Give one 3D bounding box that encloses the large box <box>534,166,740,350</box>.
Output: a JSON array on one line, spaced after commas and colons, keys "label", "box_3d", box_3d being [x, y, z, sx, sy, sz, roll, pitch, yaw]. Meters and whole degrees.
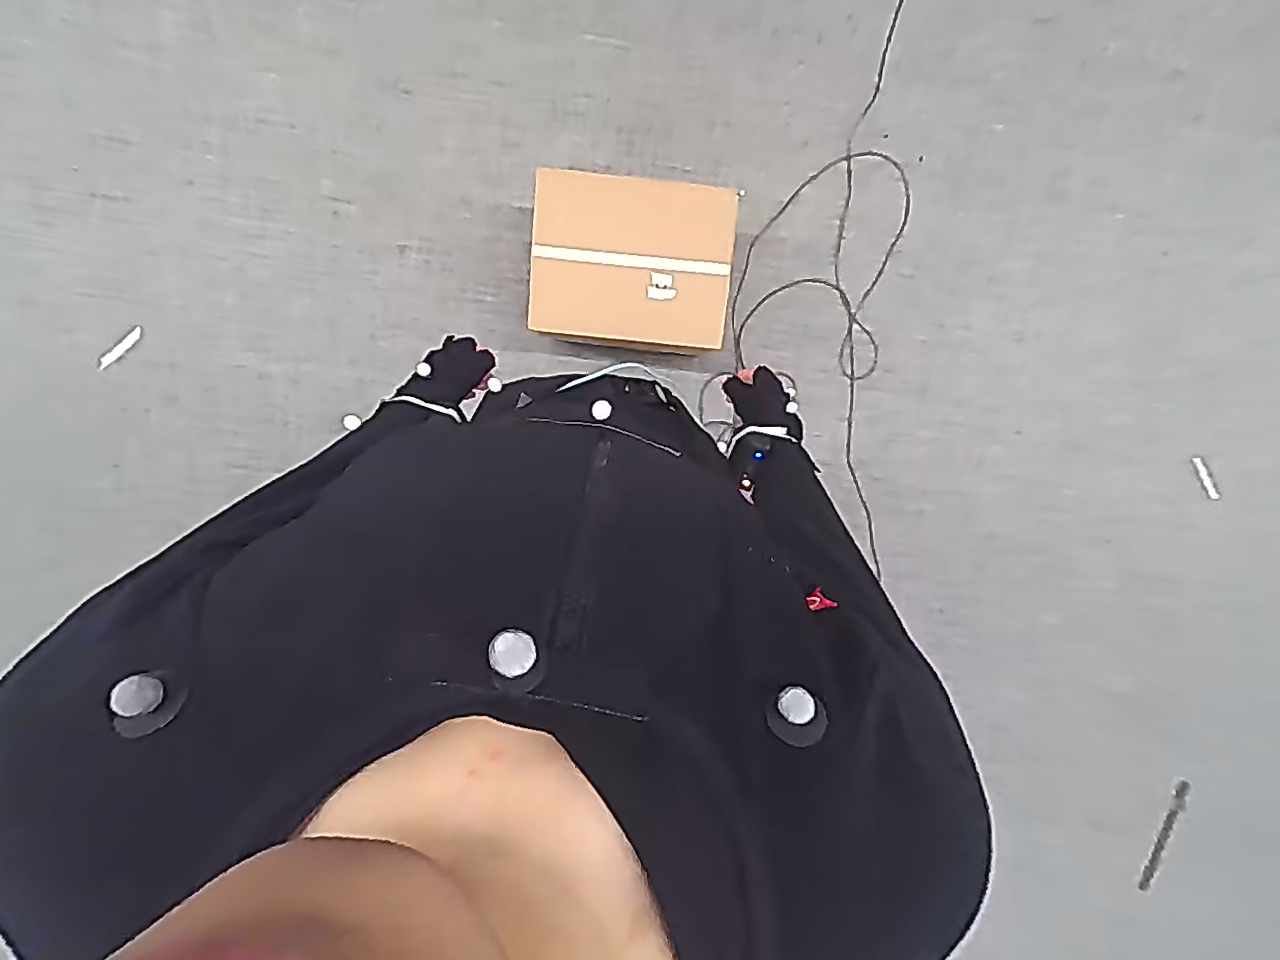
[{"label": "large box", "box_3d": [-0.015, -0.479, 1.243, 0.408, 0.320, 0.320, 6, 101, -2]}]
